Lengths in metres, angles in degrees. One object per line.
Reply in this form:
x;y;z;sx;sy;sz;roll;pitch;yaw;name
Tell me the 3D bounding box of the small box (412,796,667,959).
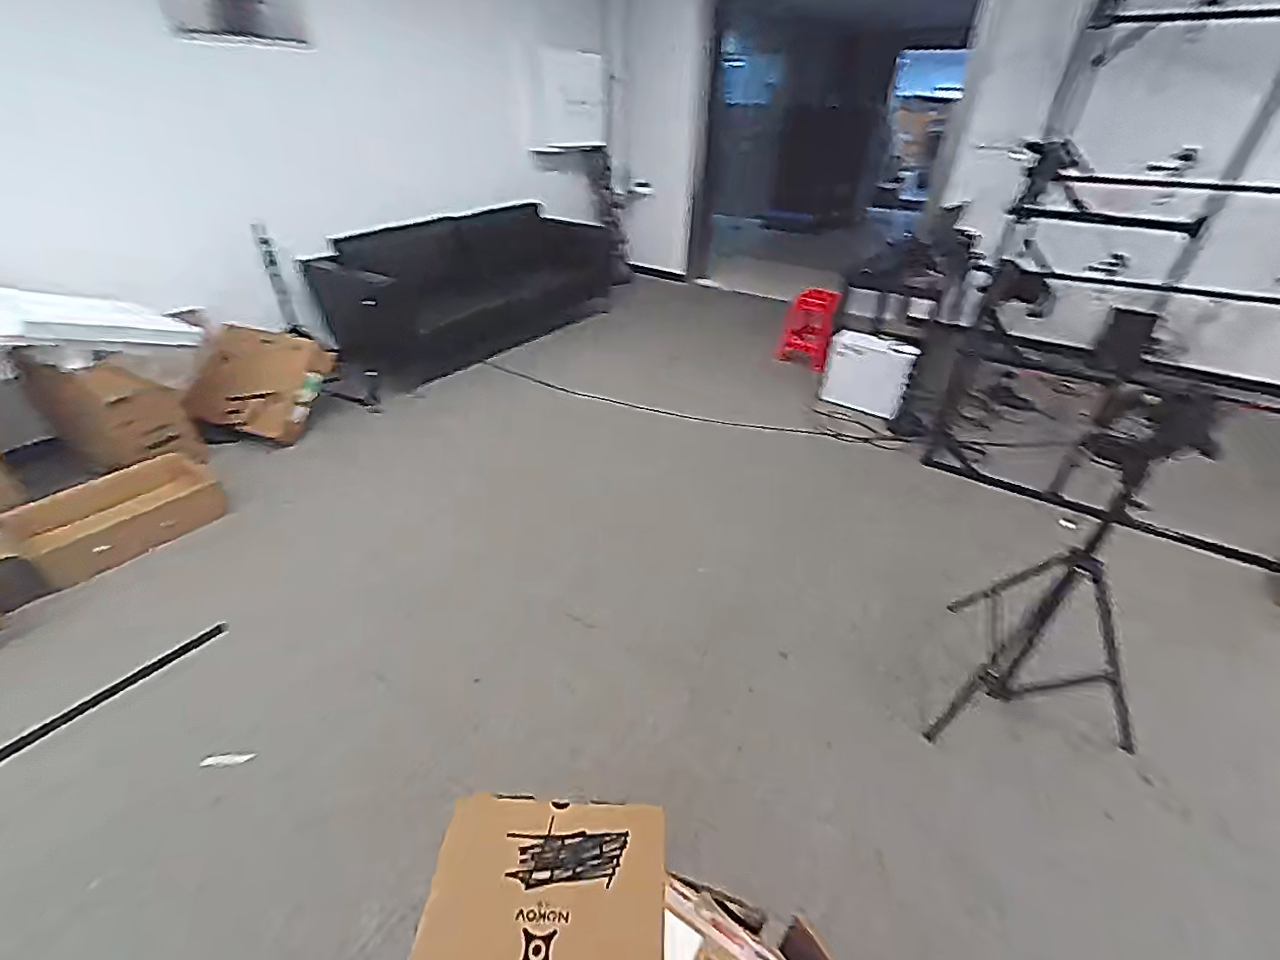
-0.068;0.370;0.401;0.168;0.176;0.179;2;33;0;small box
